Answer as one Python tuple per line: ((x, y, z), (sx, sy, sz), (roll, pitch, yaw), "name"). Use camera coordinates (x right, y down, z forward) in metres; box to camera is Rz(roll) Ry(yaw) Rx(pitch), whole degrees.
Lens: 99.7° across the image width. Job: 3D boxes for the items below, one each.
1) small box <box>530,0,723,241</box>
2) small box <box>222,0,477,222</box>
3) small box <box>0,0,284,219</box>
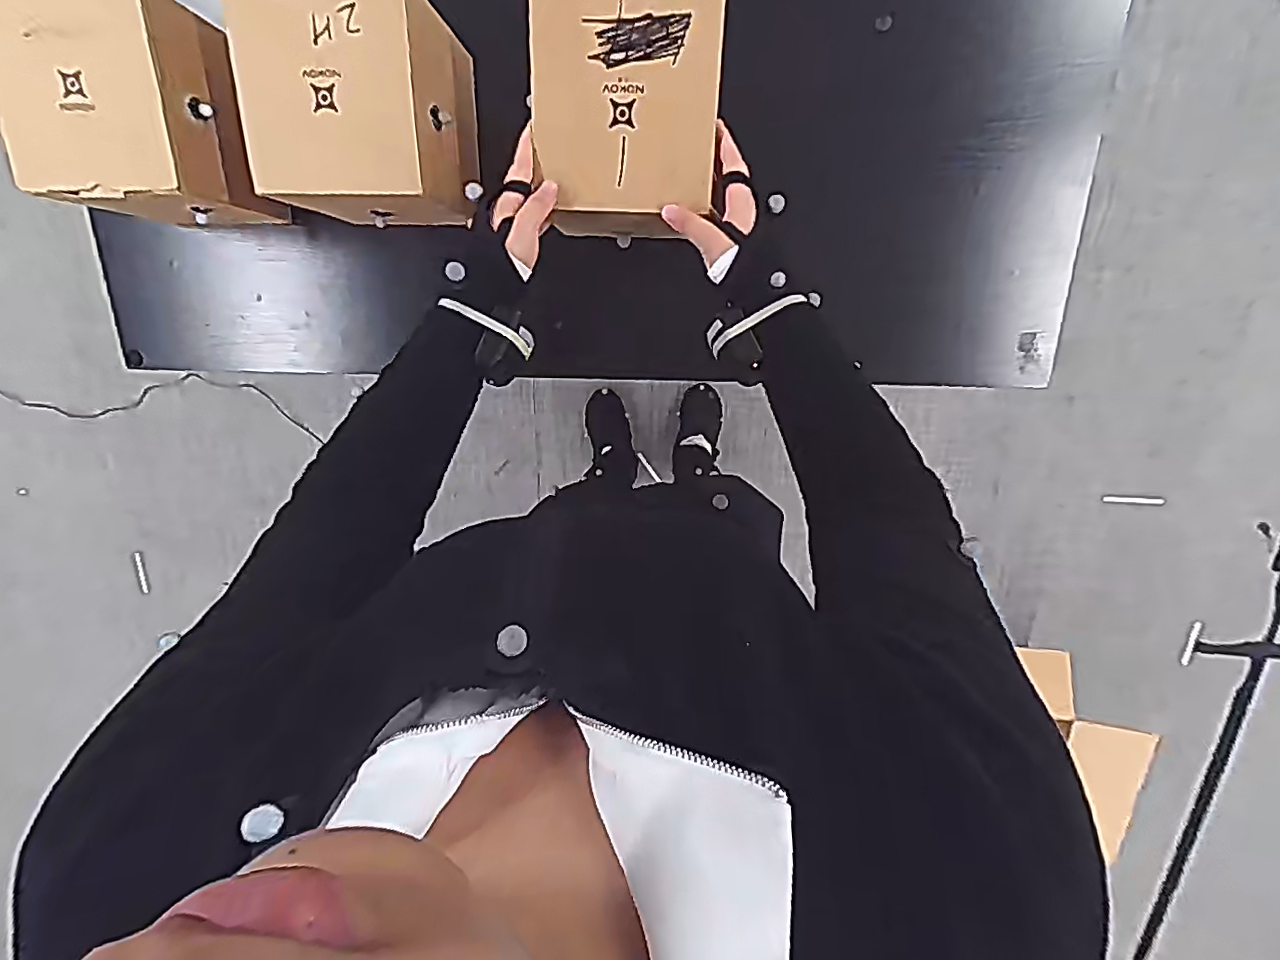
((-0.012, -0.352, 0.549), (0.168, 0.176, 0.179), (3, 107, 2), "small box")
((-0.278, -0.373, 0.560), (0.168, 0.176, 0.179), (2, 106, 2), "small box")
((-0.517, -0.384, 0.574), (0.168, 0.176, 0.179), (1, 105, 2), "small box")
